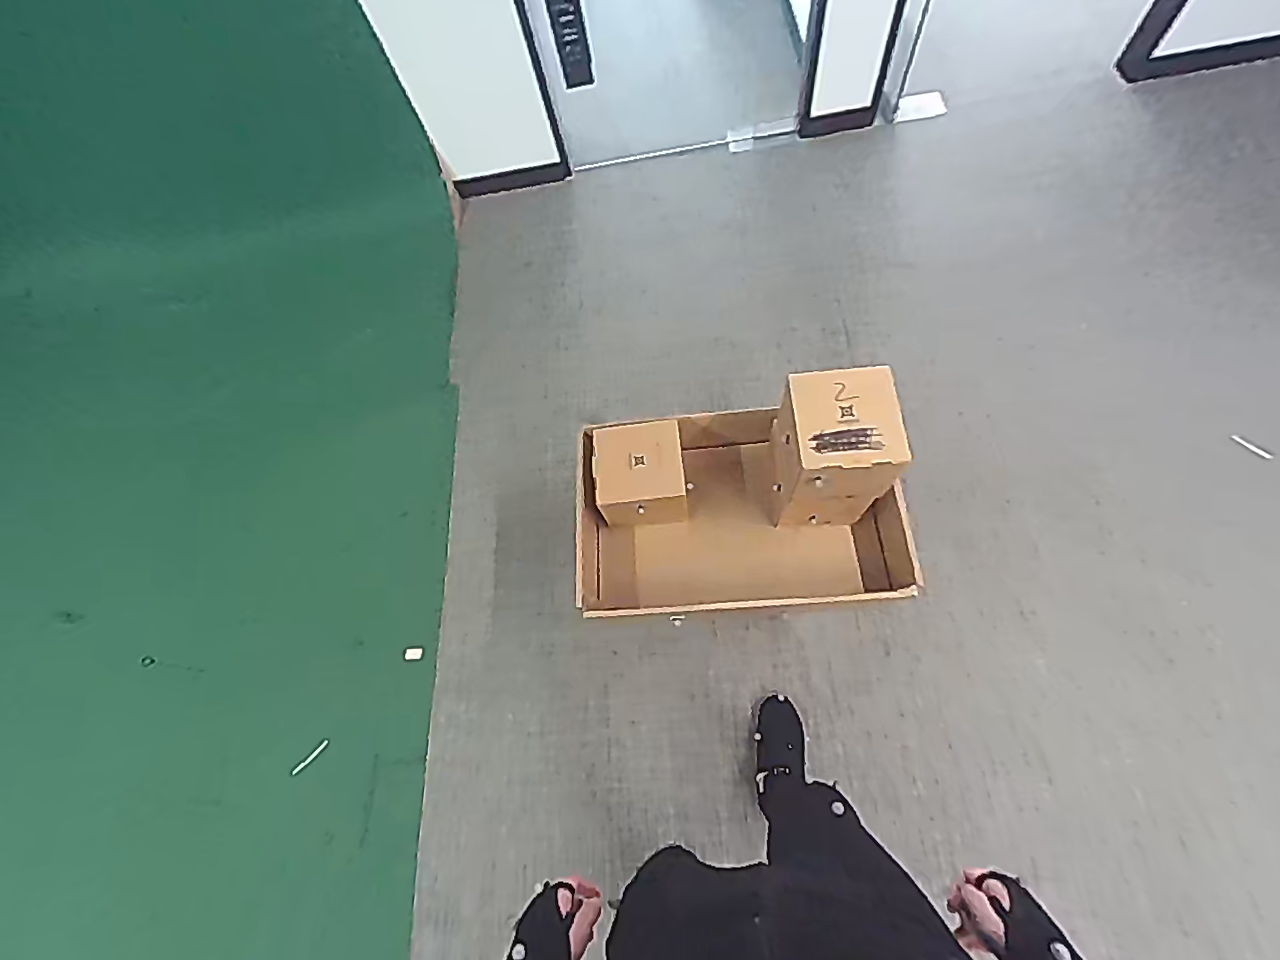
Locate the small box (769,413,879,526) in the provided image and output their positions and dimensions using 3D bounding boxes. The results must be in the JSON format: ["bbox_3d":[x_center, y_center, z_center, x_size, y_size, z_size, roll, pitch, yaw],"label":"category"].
[{"bbox_3d":[0.358,-0.016,1.087,0.168,0.176,0.179,-4,68,6],"label":"small box"}]
